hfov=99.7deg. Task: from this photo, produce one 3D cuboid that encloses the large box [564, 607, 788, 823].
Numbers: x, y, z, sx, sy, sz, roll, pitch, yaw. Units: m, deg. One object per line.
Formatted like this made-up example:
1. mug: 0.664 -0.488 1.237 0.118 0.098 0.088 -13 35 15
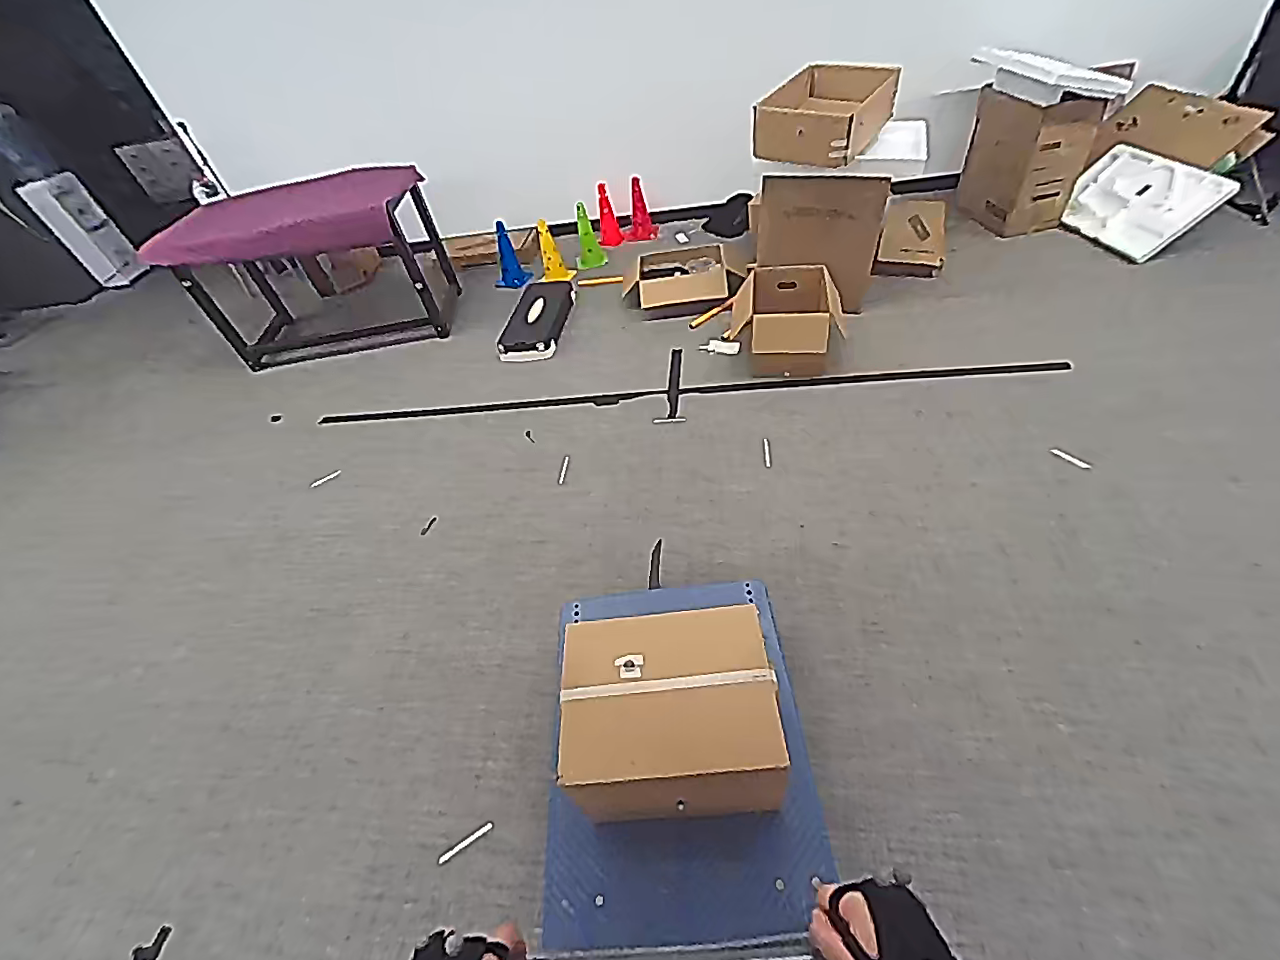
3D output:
1. large box: 0.075 0.508 1.154 0.408 0.320 0.320 -9 45 4
